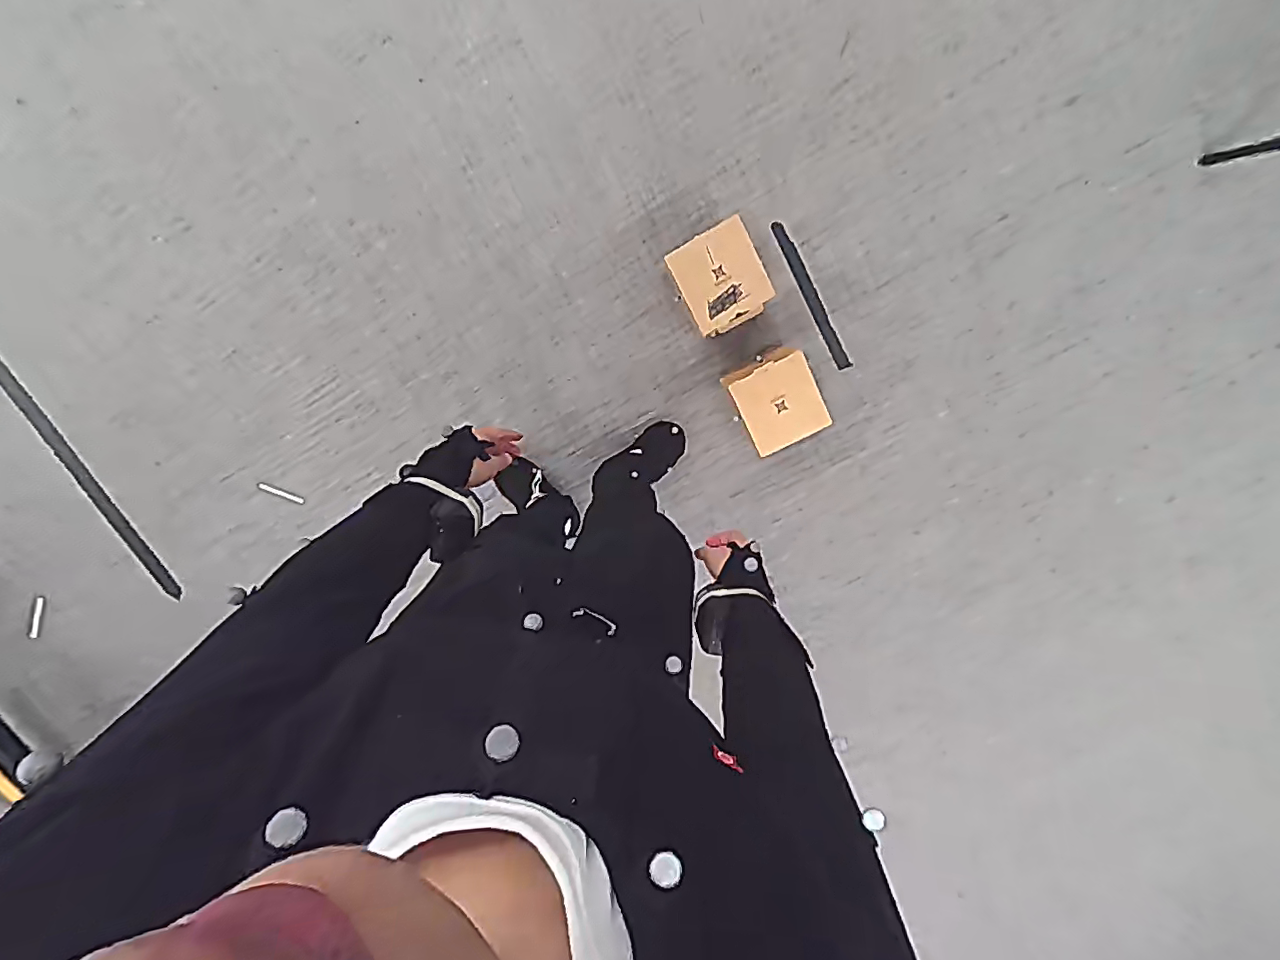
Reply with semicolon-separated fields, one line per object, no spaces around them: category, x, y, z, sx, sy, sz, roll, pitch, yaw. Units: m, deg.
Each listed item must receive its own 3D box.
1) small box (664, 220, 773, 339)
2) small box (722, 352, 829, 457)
small box;0.163;-0.419;1.156;0.168;0.176;0.179;-27;101;9
small box;0.297;-0.176;1.215;0.168;0.176;0.179;-26;101;9
